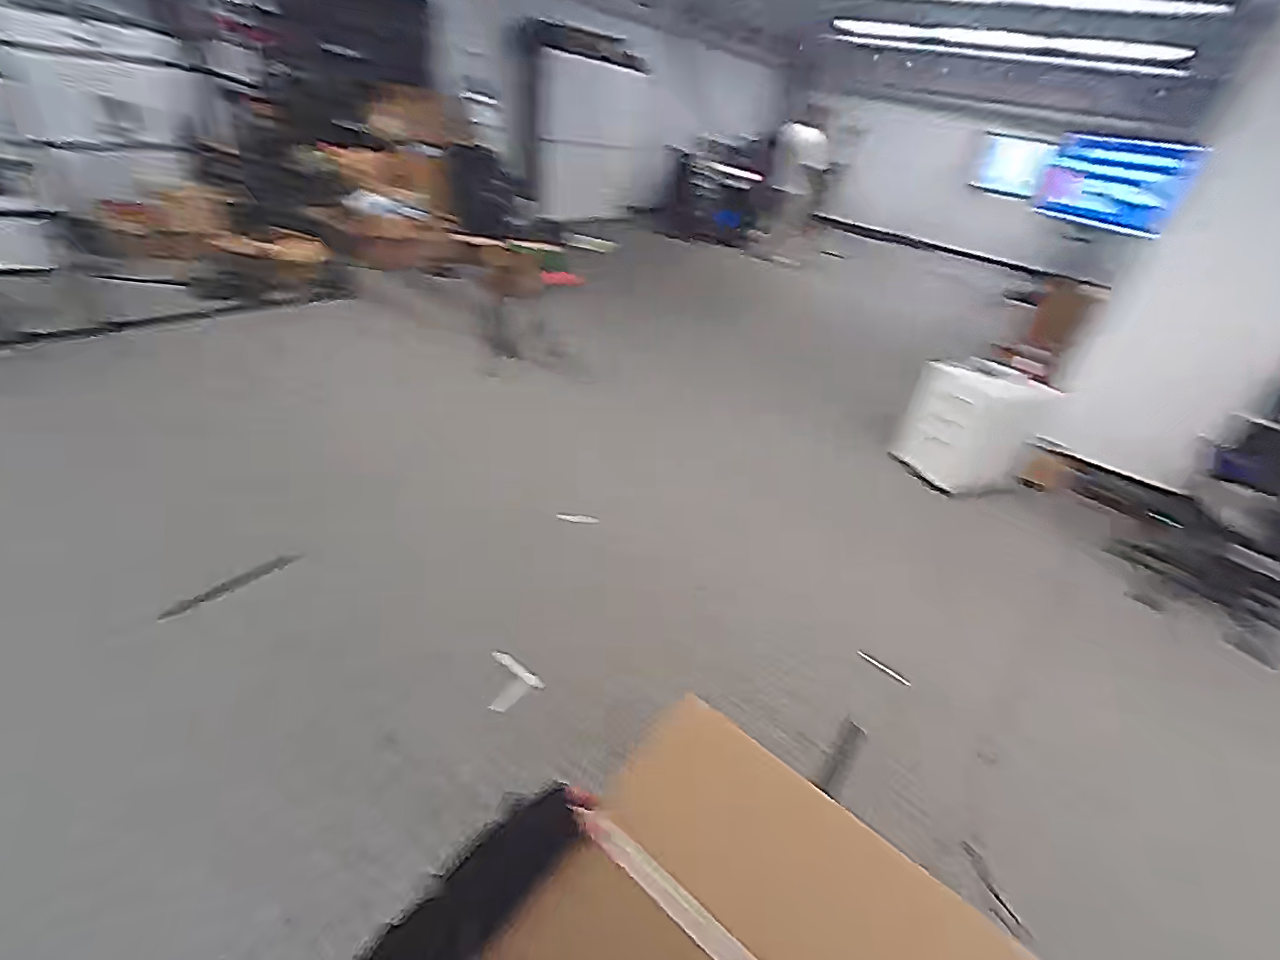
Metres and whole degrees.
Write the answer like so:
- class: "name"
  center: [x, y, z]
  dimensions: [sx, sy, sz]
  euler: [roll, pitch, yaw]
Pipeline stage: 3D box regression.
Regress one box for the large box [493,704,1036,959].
- class: "large box"
  center: [0.102, 0.511, 0.506]
  dimensions: [0.408, 0.320, 0.320]
  euler: [31, 47, 25]
